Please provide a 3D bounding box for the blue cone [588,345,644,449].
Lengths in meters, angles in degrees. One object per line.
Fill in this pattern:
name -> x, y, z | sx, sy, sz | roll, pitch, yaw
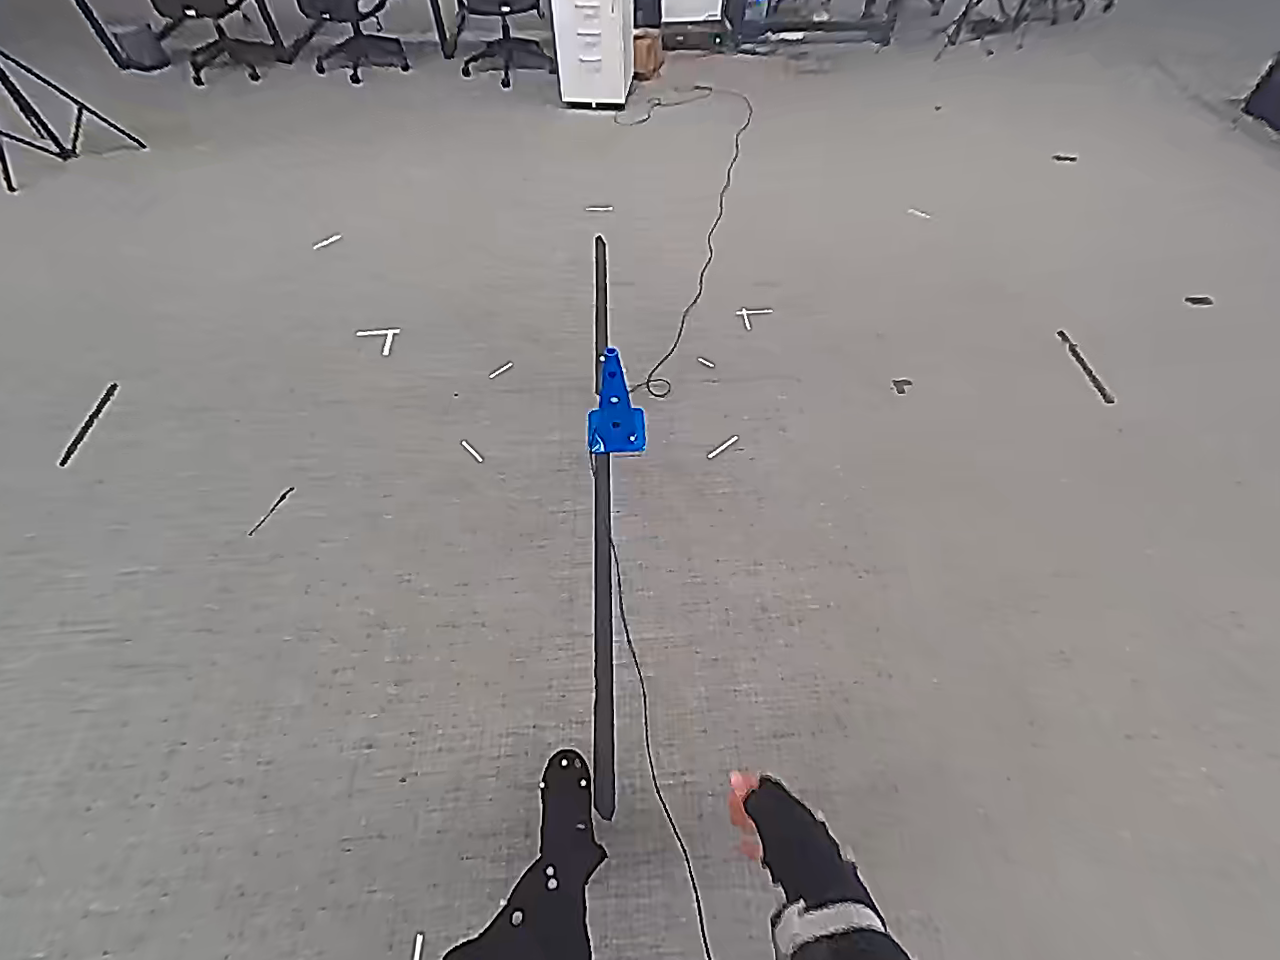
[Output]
blue cone -> -0.084, -0.283, 1.745 | 0.193, 0.380, 0.192 | -3, 54, -3
